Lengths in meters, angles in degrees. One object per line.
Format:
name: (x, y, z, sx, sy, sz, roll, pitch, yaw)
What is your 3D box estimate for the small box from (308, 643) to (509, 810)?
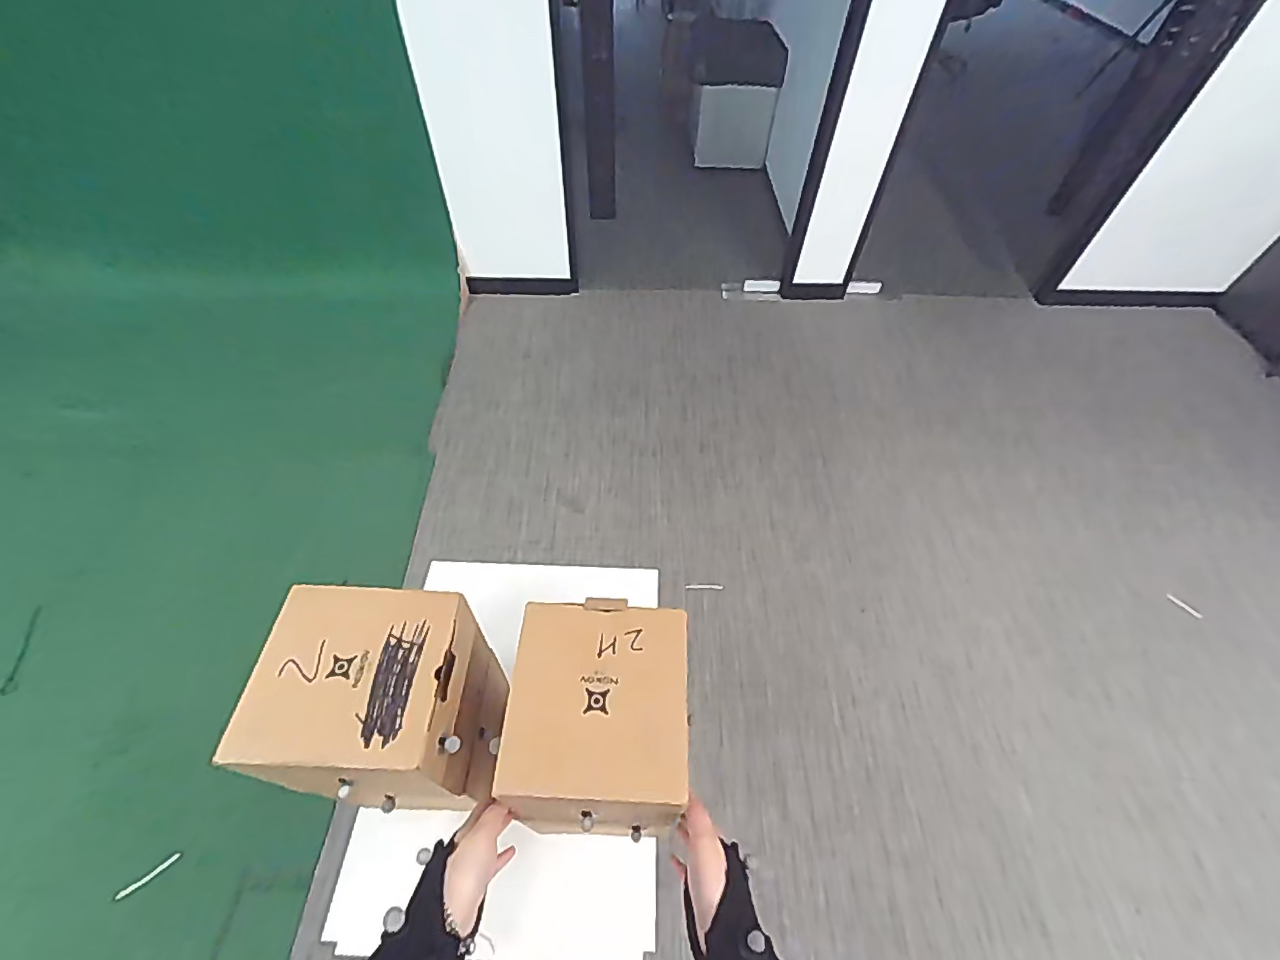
small box: (-0.279, 0.324, 0.703, 0.179, 0.176, 0.168, 2, 53, -1)

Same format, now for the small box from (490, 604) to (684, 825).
small box: (-0.043, 0.248, 0.563, 0.168, 0.176, 0.179, 4, 52, 0)
